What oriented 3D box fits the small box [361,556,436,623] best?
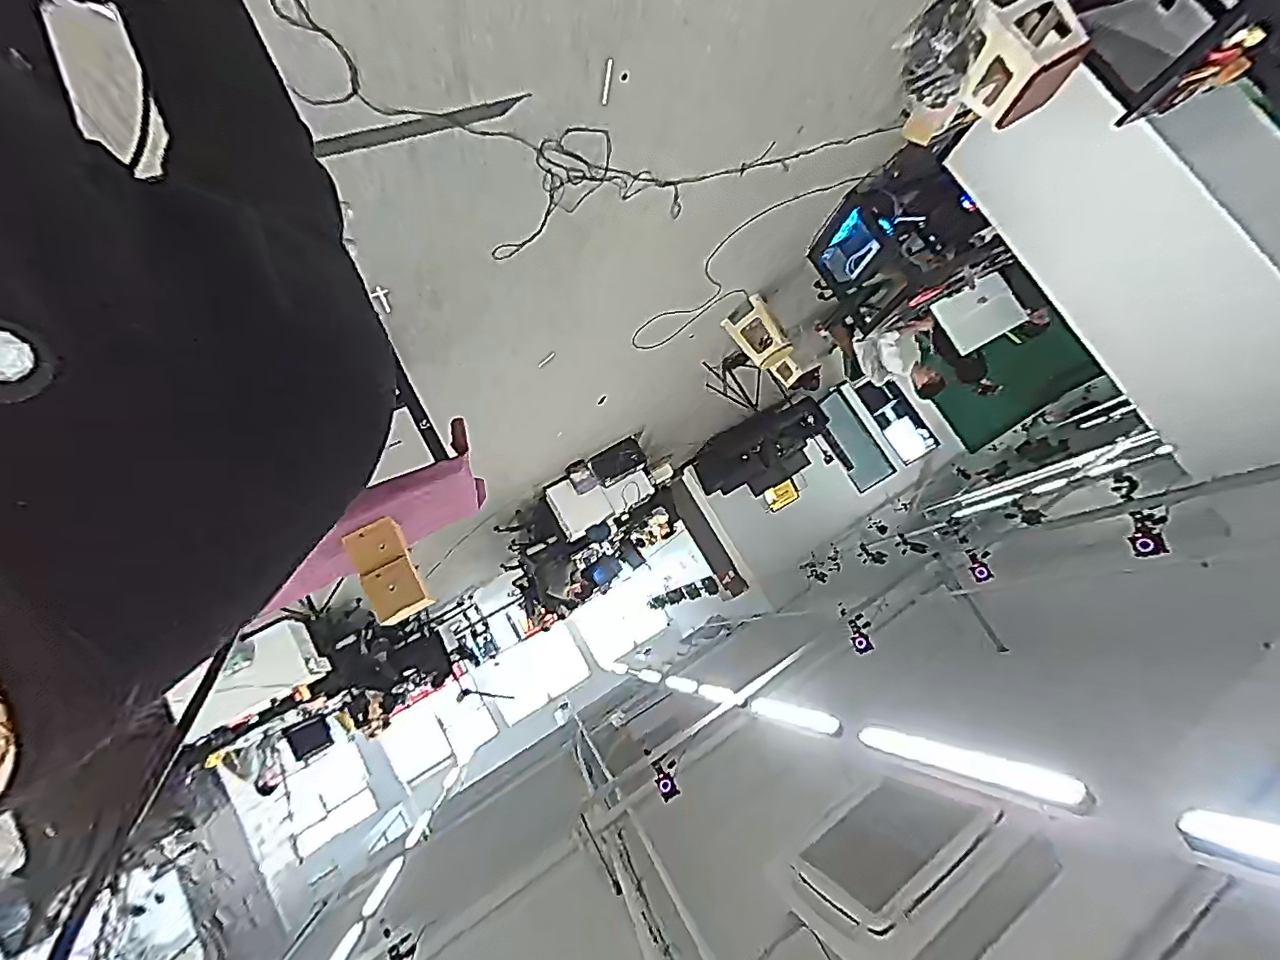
[{"bbox_3d":[-0.839,0.380,1.885,0.168,0.176,0.179,-28,170,-16],"label":"small box"}]

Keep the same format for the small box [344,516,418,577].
[{"bbox_3d":[-0.926,0.248,1.935,0.168,0.176,0.179,-28,171,-17],"label":"small box"}]
